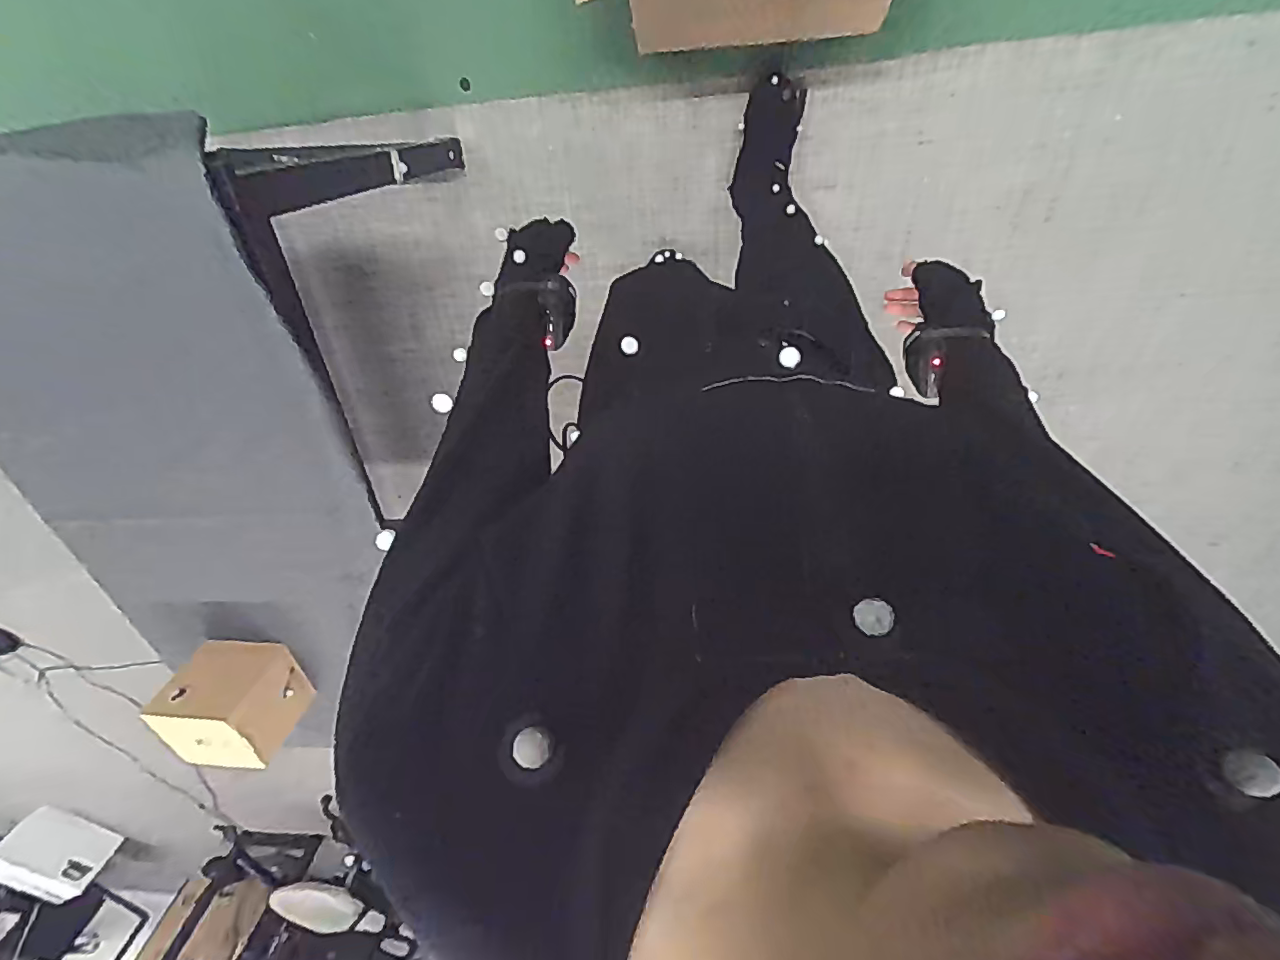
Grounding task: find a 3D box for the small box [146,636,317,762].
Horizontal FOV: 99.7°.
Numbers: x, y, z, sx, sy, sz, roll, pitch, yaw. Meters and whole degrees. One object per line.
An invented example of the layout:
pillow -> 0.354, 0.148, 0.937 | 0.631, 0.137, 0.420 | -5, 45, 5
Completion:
small box -> -0.789, 0.427, 1.068 | 0.179, 0.176, 0.168 | 1, 125, 6
